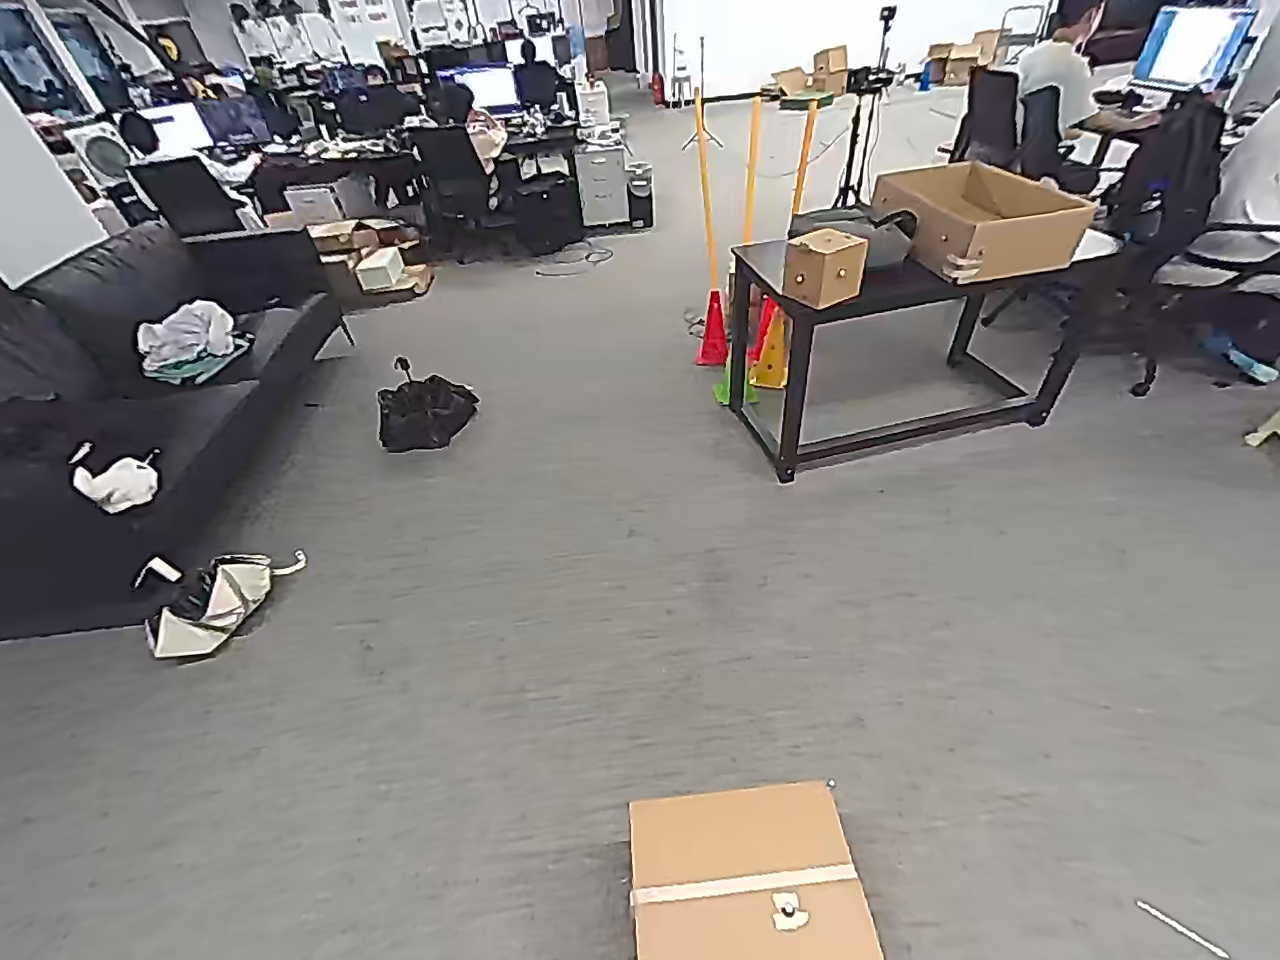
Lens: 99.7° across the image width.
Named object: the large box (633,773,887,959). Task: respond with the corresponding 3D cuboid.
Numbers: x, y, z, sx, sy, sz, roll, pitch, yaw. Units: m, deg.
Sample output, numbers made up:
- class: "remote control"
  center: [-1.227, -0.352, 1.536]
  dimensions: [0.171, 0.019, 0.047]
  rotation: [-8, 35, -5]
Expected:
- class: "large box"
  center: [0.207, 0.829, 1.076]
  dimensions: [0.408, 0.320, 0.320]
  rotation: [-7, 42, 0]
